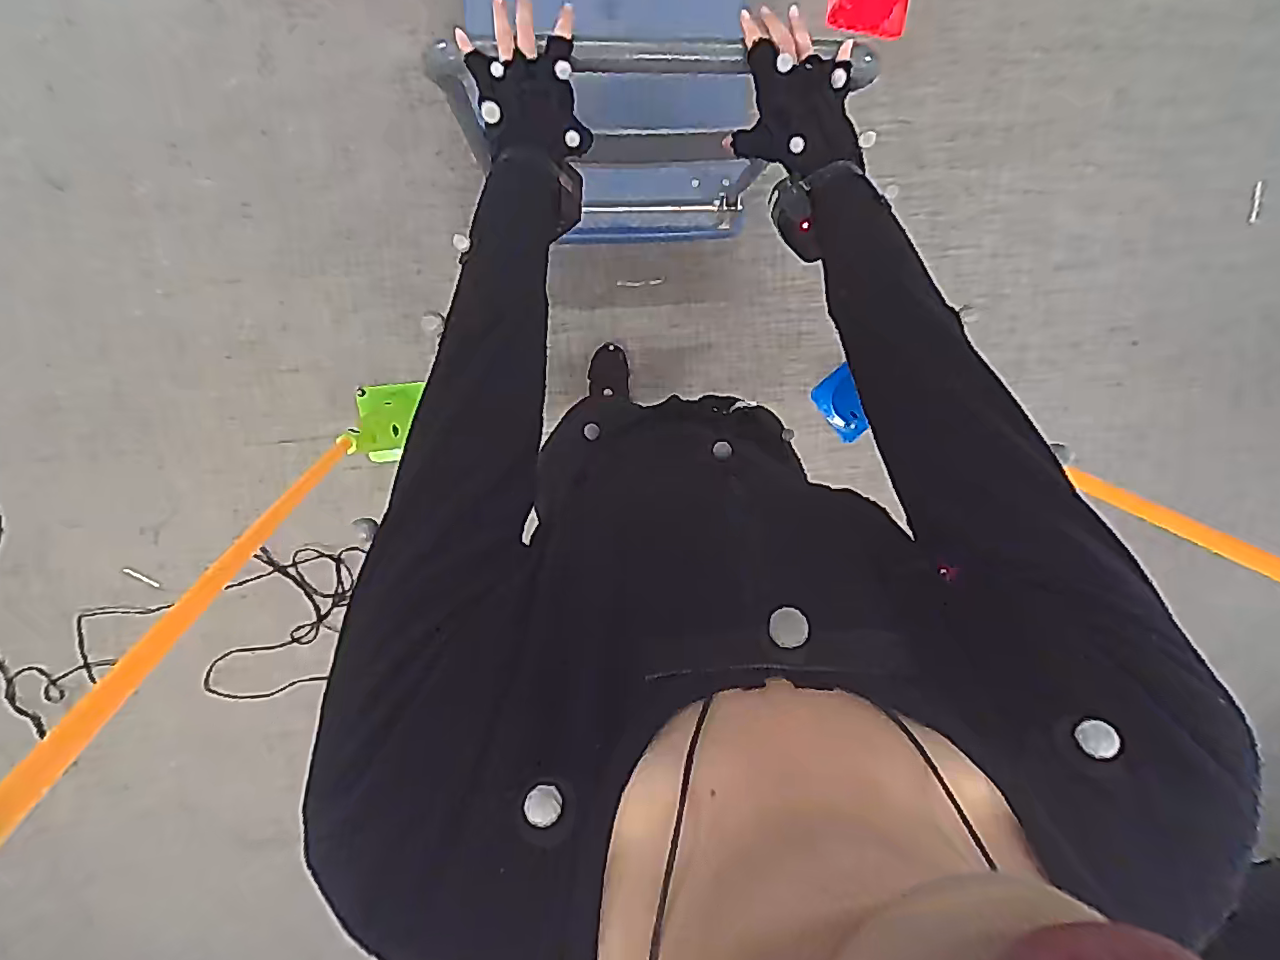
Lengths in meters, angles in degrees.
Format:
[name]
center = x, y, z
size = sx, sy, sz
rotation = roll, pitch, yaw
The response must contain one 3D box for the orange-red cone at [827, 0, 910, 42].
[orange-red cone]
center = 0.572, -1.138, 1.133
size = 0.198, 0.360, 0.199
rotation = 6, 103, -6
